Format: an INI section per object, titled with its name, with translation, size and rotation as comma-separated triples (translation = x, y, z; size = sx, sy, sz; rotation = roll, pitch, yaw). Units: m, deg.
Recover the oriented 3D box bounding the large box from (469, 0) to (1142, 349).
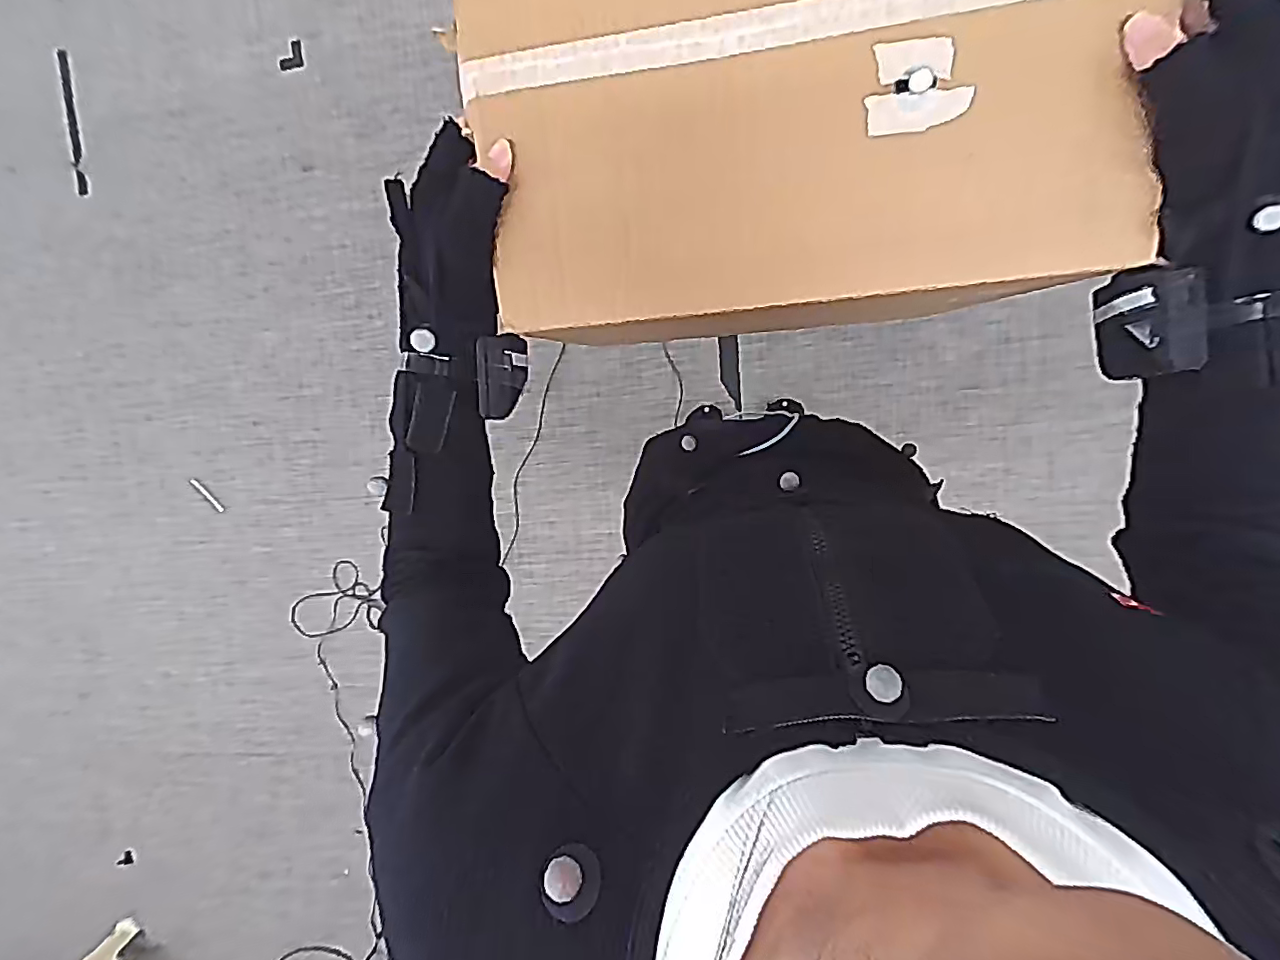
[large box]
translation = 0.104, -0.302, 0.479
size = 0.408, 0.320, 0.320
rotation = -5, 102, 7
